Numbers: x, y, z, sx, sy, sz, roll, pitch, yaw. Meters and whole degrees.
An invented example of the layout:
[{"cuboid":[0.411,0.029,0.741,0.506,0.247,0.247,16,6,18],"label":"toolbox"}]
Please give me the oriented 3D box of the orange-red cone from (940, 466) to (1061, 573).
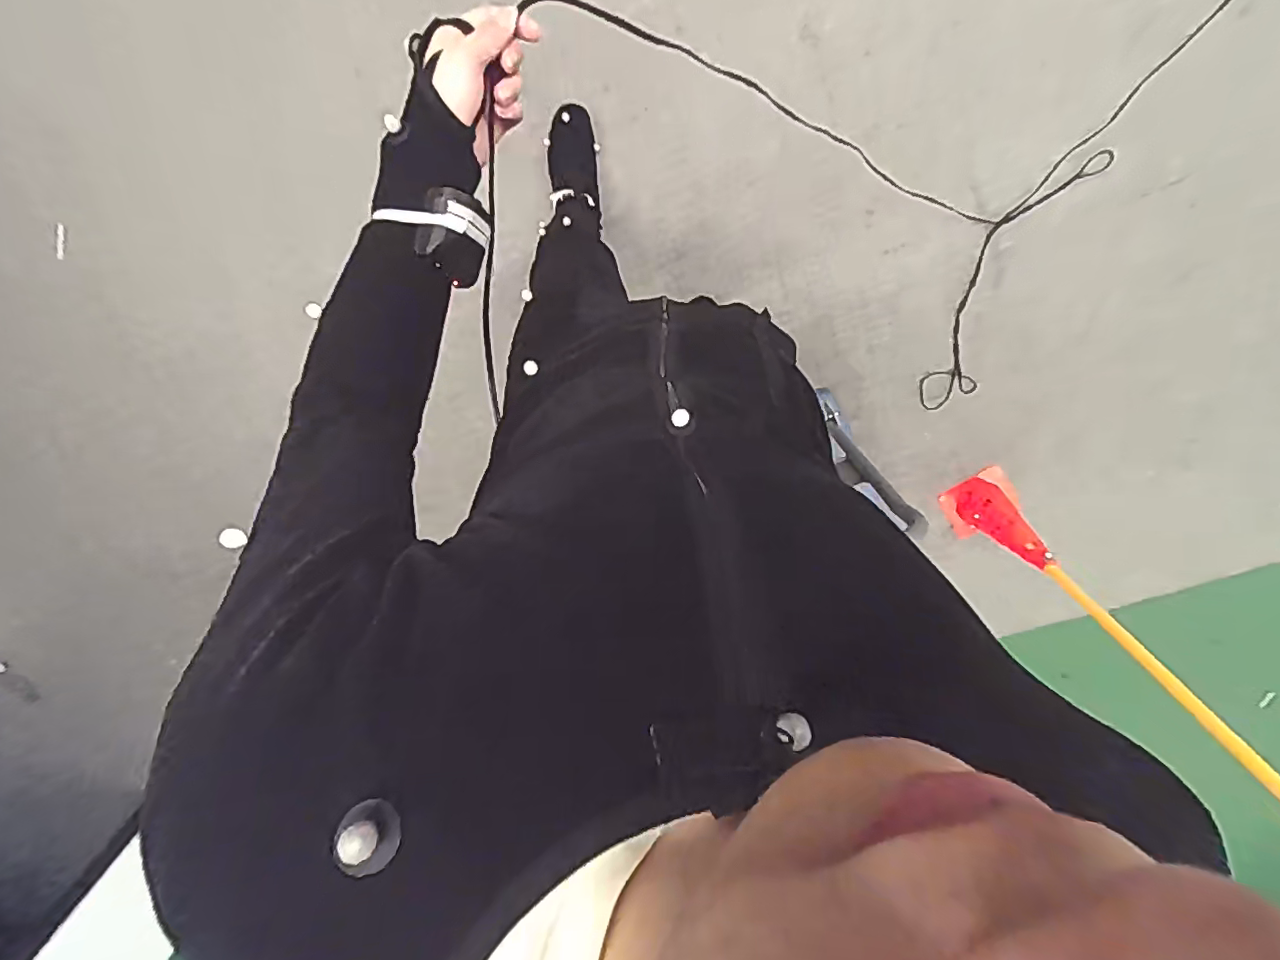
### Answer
[{"cuboid":[1.062,0.142,1.540,0.199,0.360,0.198,-34,112,15],"label":"orange-red cone"}]
